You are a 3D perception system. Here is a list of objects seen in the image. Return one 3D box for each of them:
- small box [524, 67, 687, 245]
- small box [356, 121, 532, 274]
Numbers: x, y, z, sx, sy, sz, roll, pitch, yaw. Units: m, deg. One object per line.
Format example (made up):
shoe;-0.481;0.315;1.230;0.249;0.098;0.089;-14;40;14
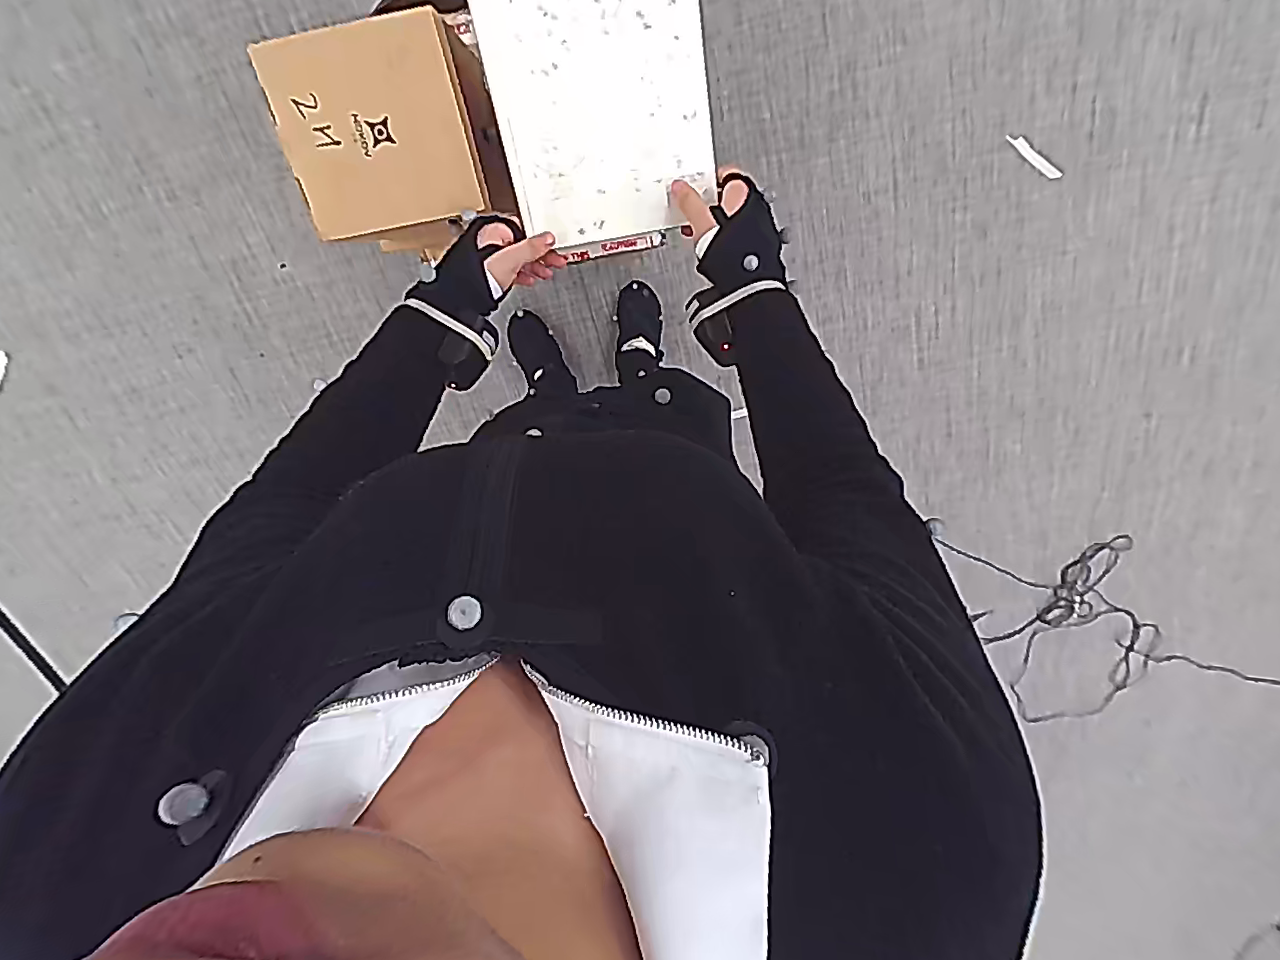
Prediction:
small box;-0.045;-0.436;0.752;0.179;0.176;0.168;-14;114;3
small box;-0.257;-0.392;0.764;0.179;0.176;0.168;-5;115;2
